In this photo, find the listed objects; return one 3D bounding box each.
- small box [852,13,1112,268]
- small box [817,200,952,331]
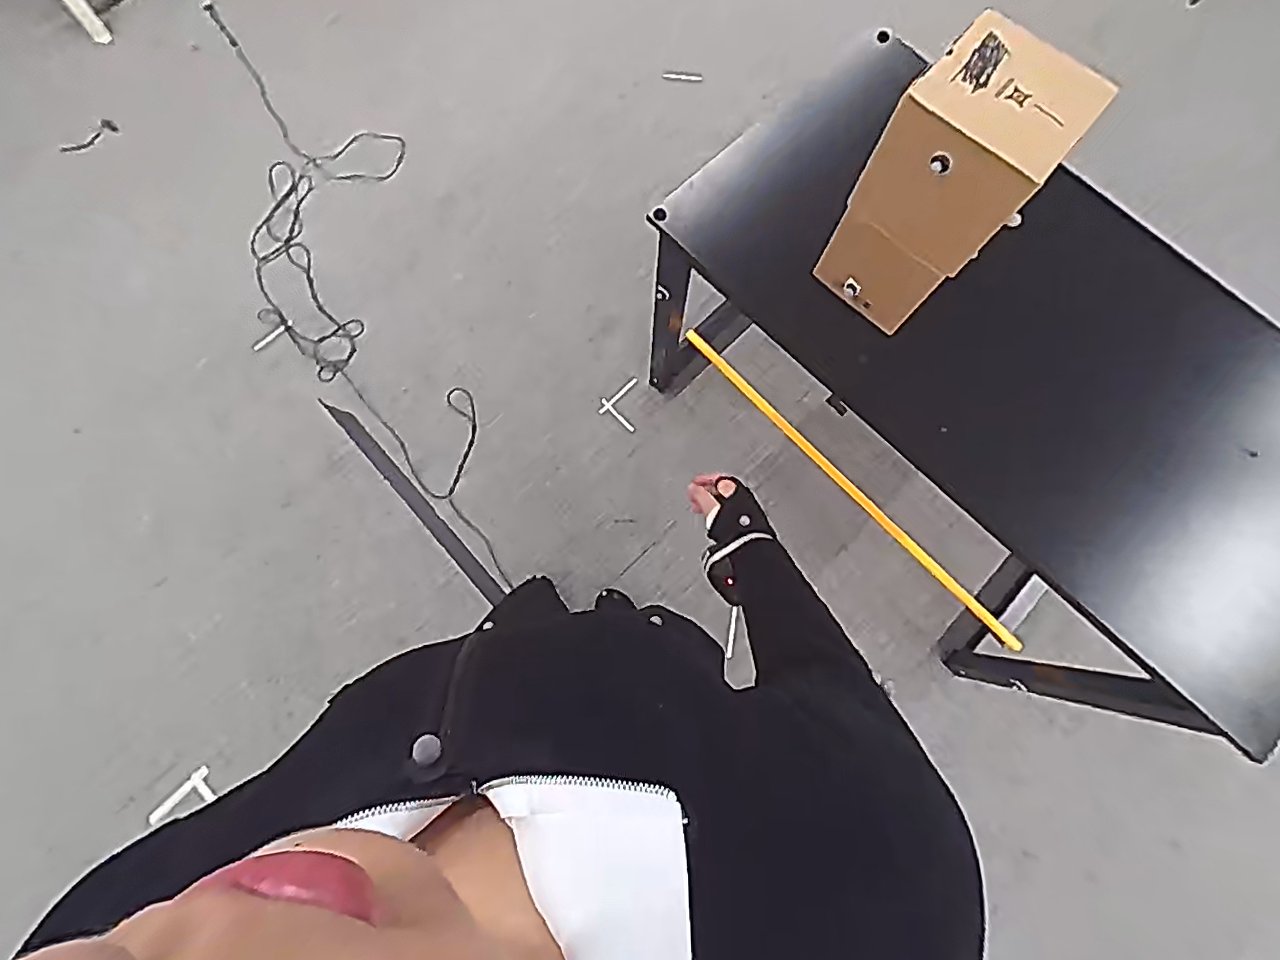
[{"bbox_3d":[0.401,-0.404,0.669,0.179,0.176,0.168,41,80,8],"label":"small box"},{"bbox_3d":[0.402,-0.369,0.830,0.168,0.176,0.179,41,81,9],"label":"small box"}]
